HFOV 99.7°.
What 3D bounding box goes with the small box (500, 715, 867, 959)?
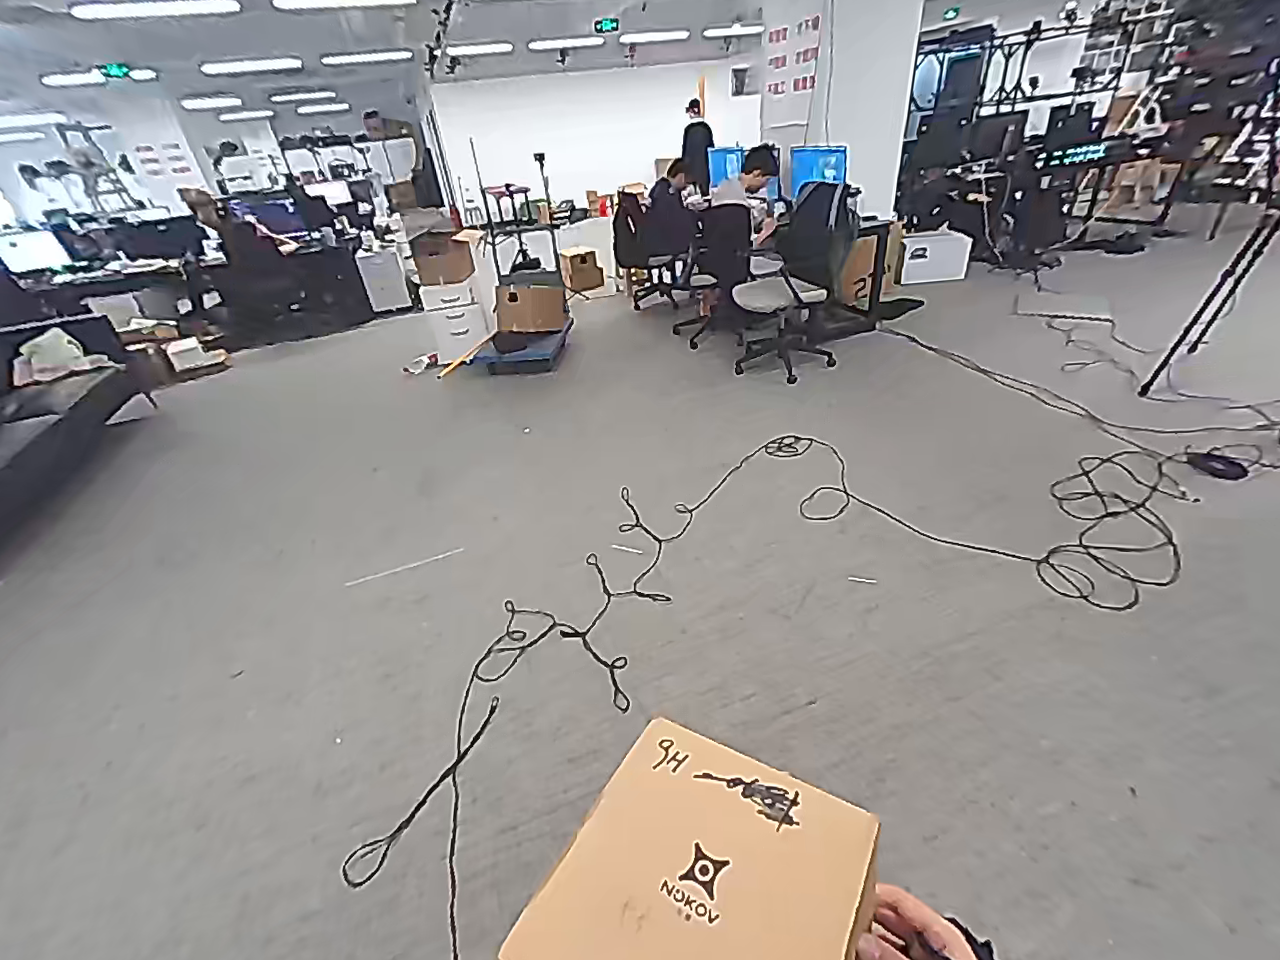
[{"bbox_3d":[0.044,0.307,0.361,0.168,0.176,0.179,10,36,33],"label":"small box"}]
